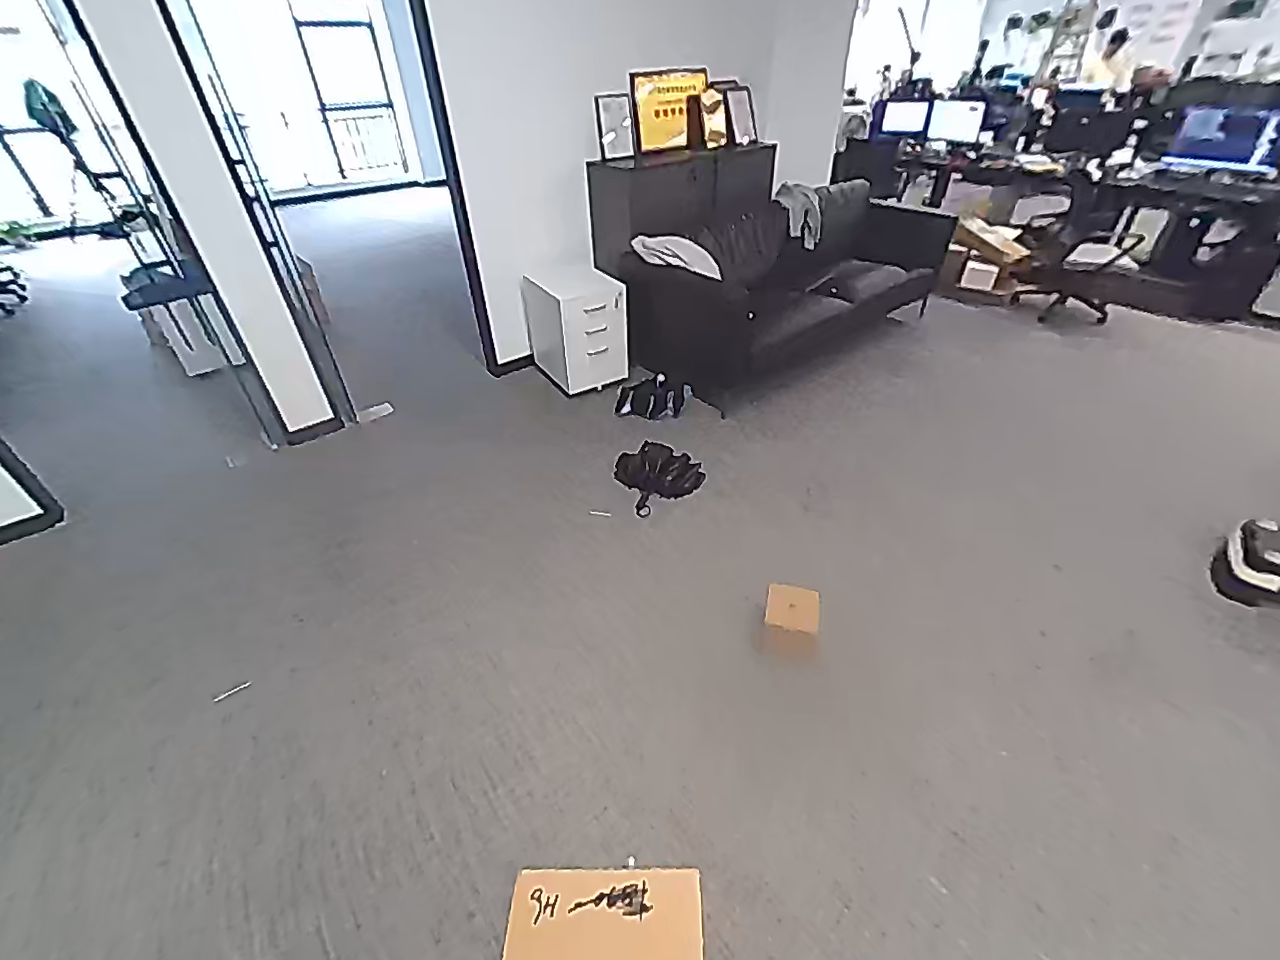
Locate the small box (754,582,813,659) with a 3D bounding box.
[{"bbox_3d":[0.483,0.476,1.825,0.168,0.176,0.179,9,38,11],"label":"small box"}]
